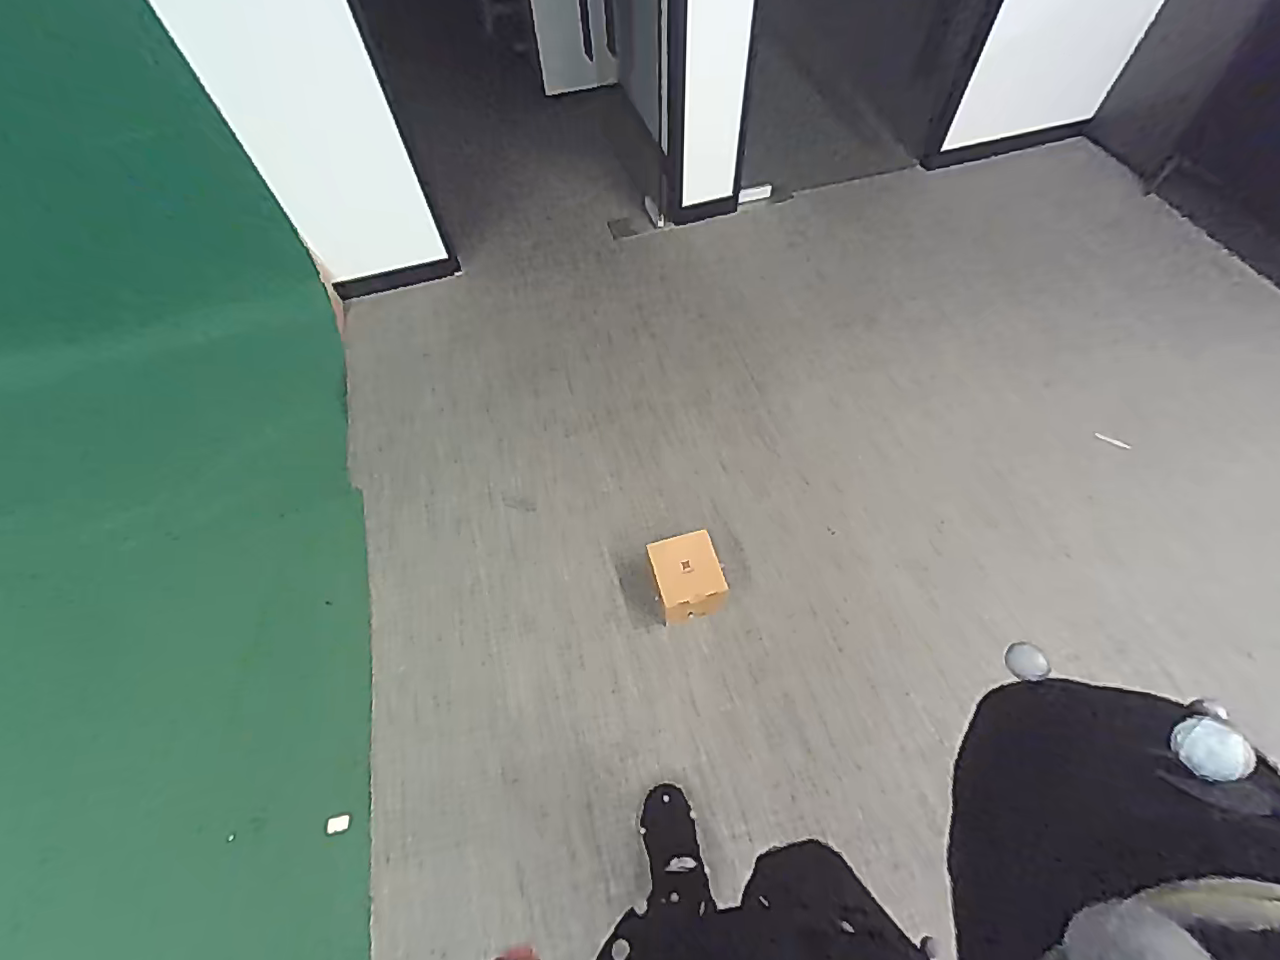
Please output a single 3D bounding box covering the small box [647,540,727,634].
[{"bbox_3d":[0.116,0.287,1.432,0.168,0.176,0.179,-13,60,-7],"label":"small box"}]
